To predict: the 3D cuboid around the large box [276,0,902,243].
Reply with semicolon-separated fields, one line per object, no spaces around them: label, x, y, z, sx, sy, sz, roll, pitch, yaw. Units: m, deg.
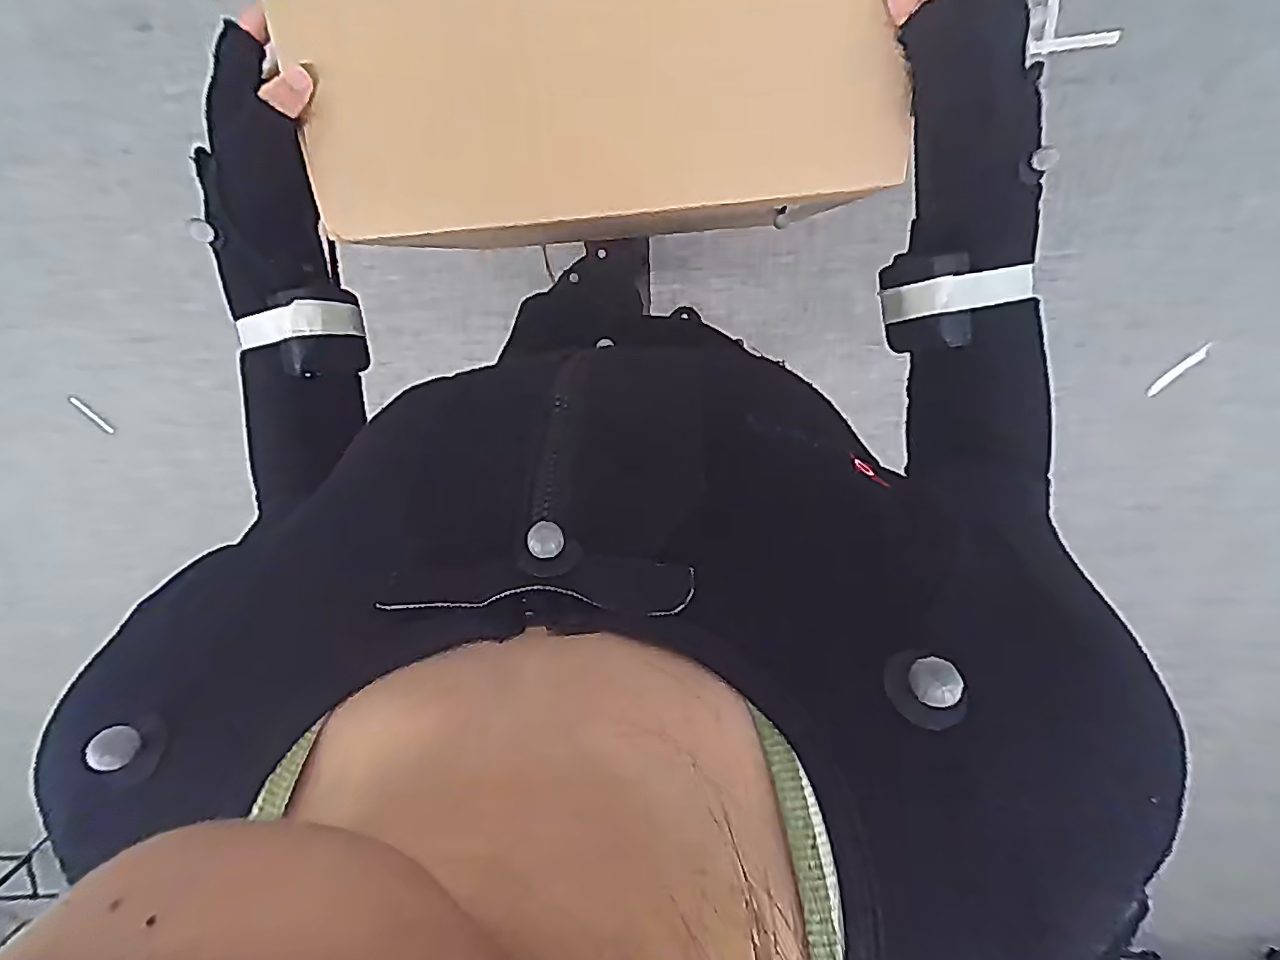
large box;-0.030;-0.392;0.466;0.408;0.320;0.320;-3;111;4
